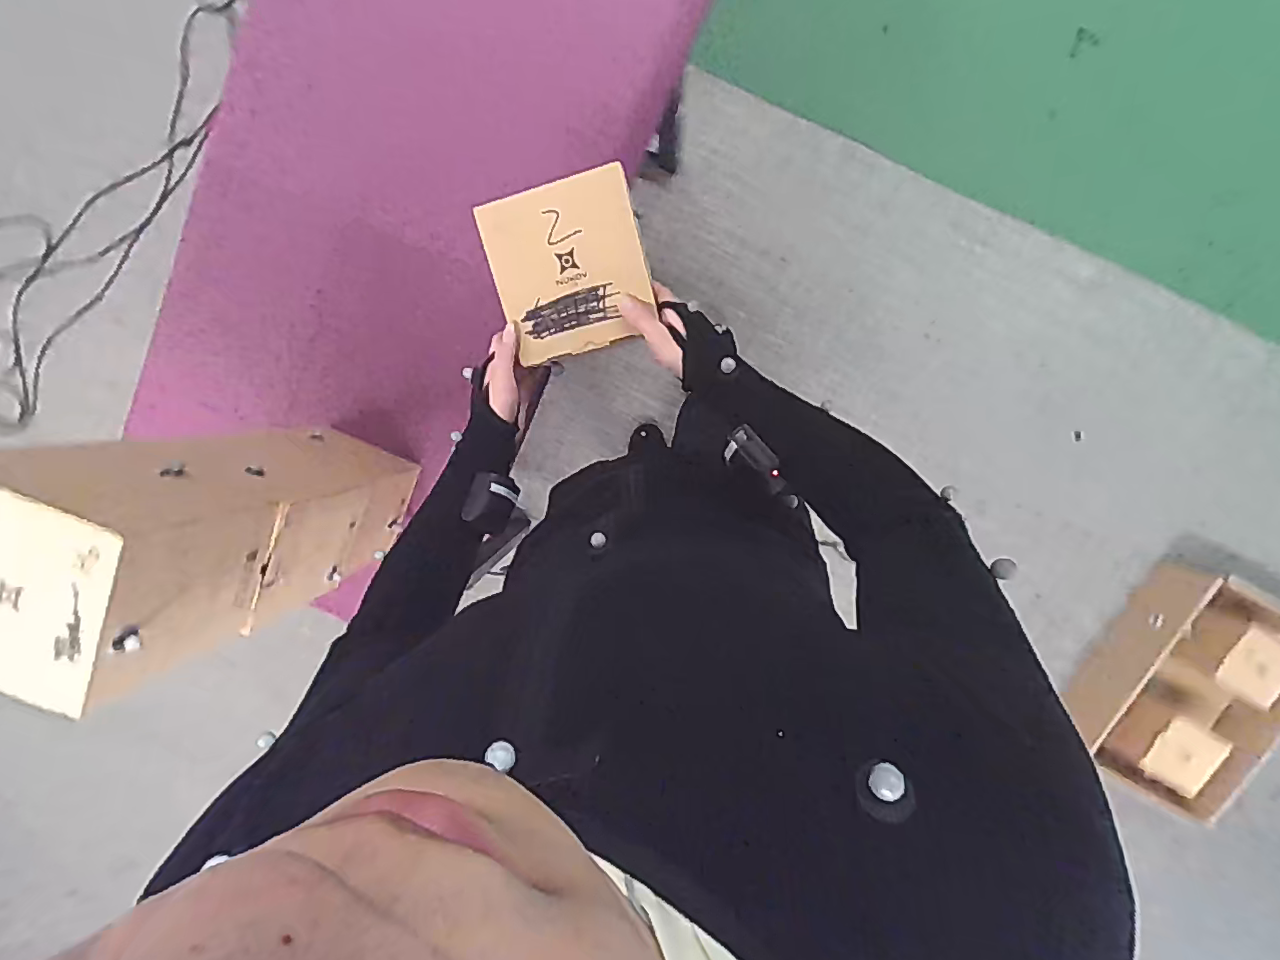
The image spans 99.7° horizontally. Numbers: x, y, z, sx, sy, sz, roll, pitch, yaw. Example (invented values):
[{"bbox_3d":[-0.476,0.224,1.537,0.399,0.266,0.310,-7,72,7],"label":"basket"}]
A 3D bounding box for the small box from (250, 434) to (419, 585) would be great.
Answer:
[{"bbox_3d":[-0.477,0.034,0.831,0.179,0.176,0.168,22,99,-1],"label":"small box"}]

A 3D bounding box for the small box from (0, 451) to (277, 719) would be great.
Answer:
[{"bbox_3d":[-0.496,0.078,0.506,0.179,0.176,0.168,22,99,1],"label":"small box"}]

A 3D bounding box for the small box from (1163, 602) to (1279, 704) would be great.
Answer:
[{"bbox_3d":[1.589,0.453,1.446,0.179,0.176,0.168,29,98,-2],"label":"small box"}]

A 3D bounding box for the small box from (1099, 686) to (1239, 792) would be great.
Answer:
[{"bbox_3d":[1.443,0.702,1.489,0.179,0.176,0.168,30,98,-1],"label":"small box"}]

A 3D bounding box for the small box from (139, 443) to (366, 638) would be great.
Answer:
[{"bbox_3d":[-0.479,0.060,0.668,0.179,0.176,0.168,23,99,1],"label":"small box"}]
